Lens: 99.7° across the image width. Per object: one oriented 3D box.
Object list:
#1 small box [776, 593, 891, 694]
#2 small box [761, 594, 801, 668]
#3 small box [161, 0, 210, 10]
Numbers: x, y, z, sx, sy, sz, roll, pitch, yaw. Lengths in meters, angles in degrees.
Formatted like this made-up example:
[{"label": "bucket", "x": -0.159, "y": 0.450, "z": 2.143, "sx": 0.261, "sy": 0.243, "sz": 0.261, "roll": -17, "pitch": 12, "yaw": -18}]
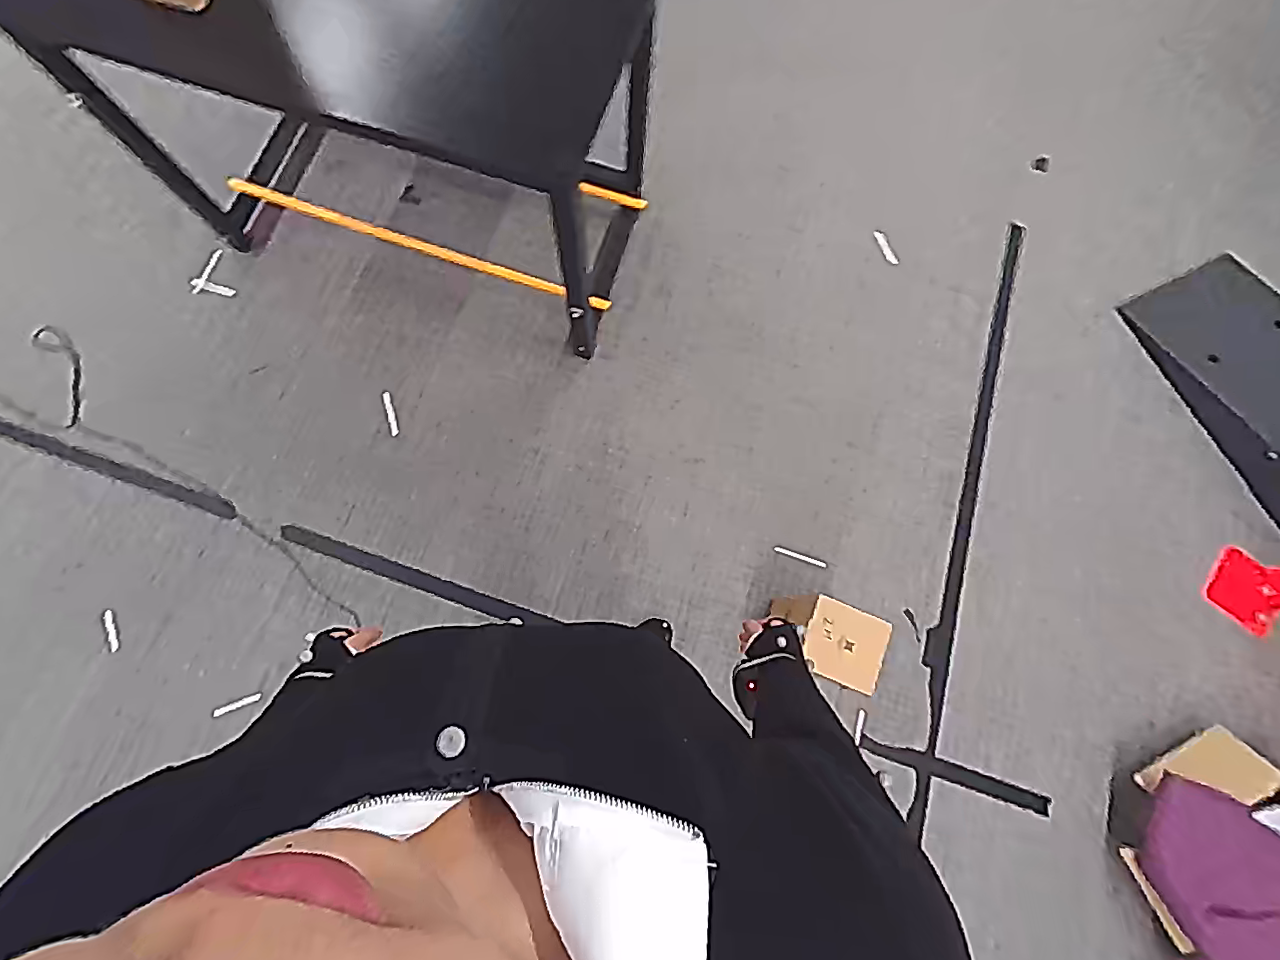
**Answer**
[{"label": "small box", "x": 0.445, "y": 0.375, "z": 1.266, "sx": 0.179, "sy": 0.176, "sz": 0.168, "roll": 23, "pitch": 76, "yaw": 3}, {"label": "small box", "x": 0.435, "y": 0.409, "z": 1.428, "sx": 0.179, "sy": 0.176, "sz": 0.168, "roll": 18, "pitch": 77, "yaw": 2}, {"label": "small box", "x": -0.855, "y": -0.983, "z": 0.938, "sx": 0.168, "sy": 0.176, "sz": 0.179, "roll": 14, "pitch": 77, "yaw": 1}]
